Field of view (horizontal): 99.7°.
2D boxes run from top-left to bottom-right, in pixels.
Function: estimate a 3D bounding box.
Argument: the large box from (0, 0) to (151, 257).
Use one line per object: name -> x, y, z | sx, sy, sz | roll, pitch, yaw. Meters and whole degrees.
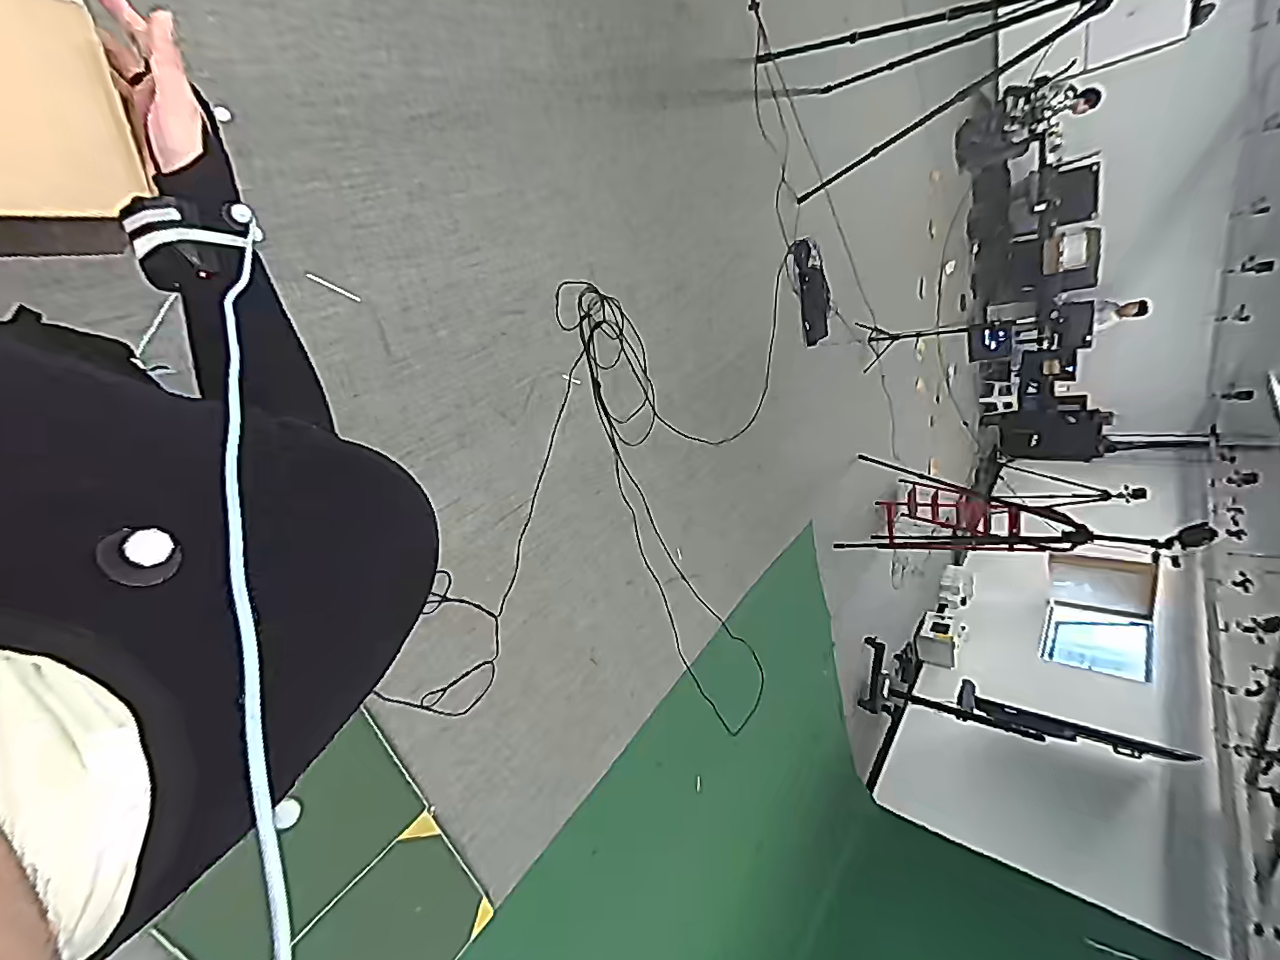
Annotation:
large box -> -0.683, -0.333, 0.385 | 0.408, 0.320, 0.320 | -26, 119, -42
